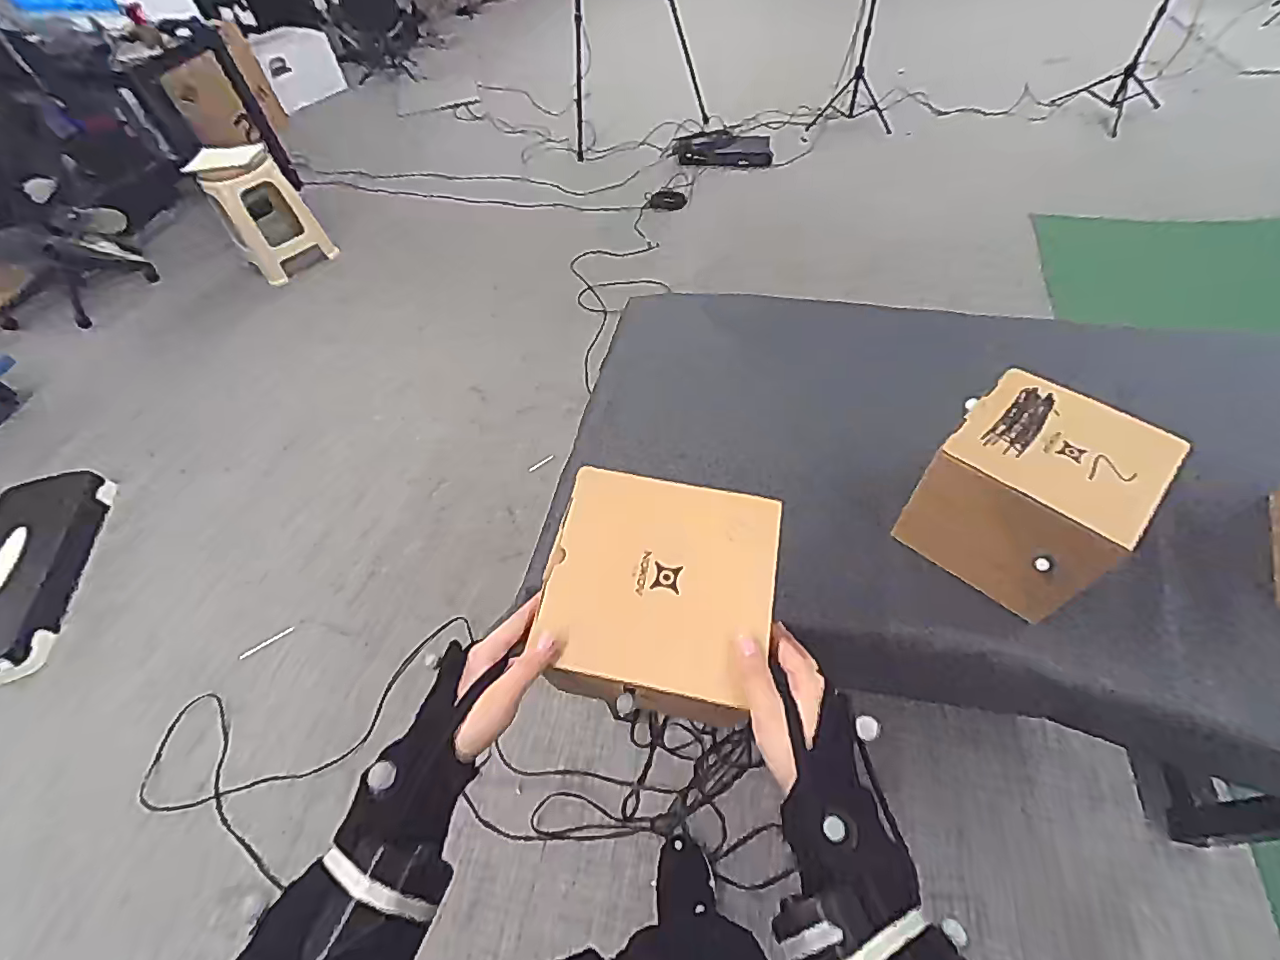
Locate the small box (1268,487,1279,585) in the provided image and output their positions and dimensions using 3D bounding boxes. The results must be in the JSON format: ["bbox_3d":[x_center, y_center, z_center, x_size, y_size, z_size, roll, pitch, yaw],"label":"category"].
[{"bbox_3d":[0.791,0.055,0.531,0.168,0.176,0.179,24,57,21],"label":"small box"}]
